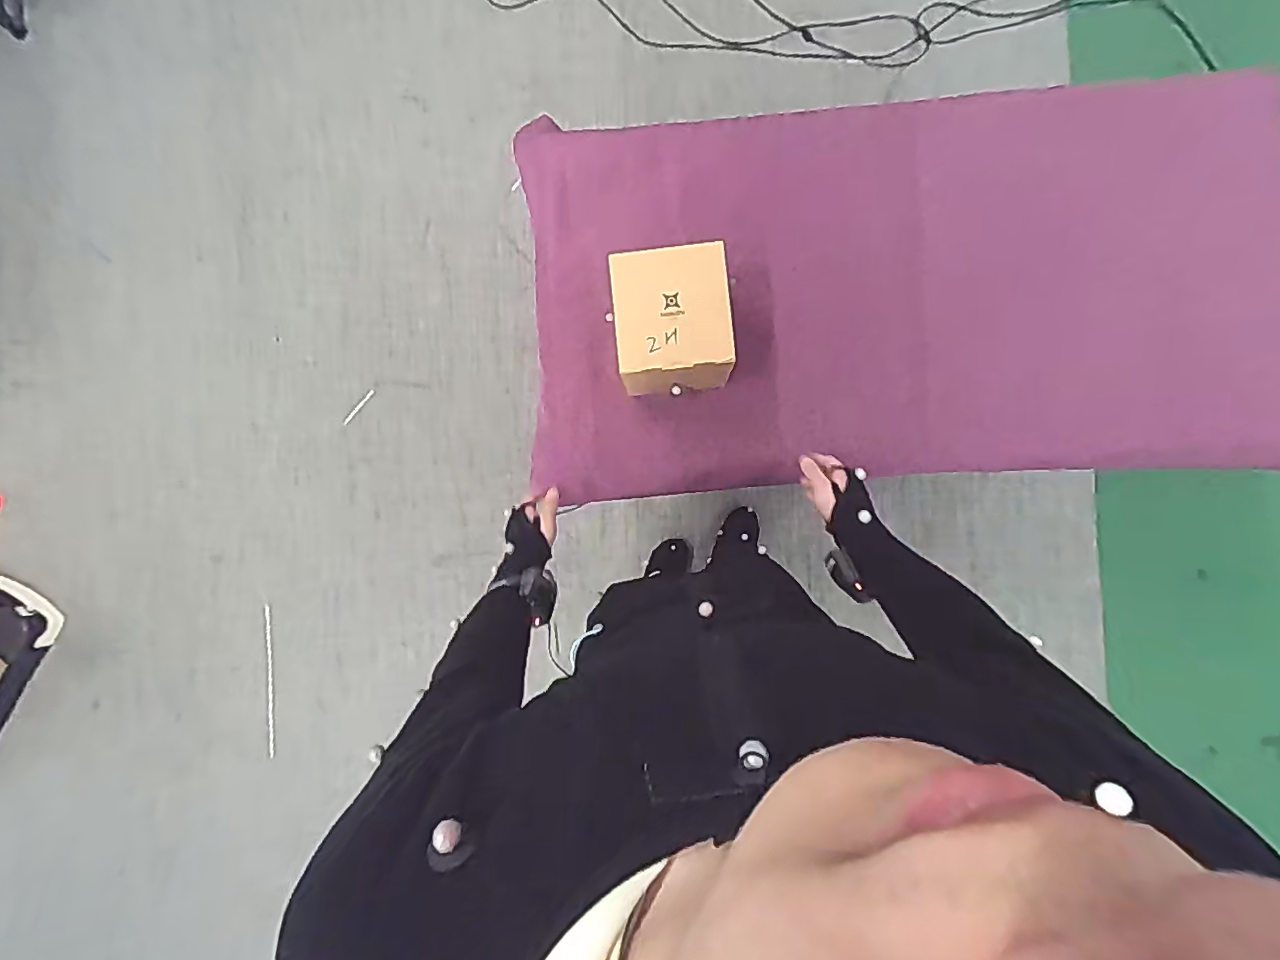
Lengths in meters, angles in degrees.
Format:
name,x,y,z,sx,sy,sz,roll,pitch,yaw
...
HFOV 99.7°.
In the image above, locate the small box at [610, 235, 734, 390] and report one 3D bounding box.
name,x,y,z,sx,sy,sz,roll,pitch,yaw
small box,0.048,-0.249,0.837,0.168,0.176,0.179,-5,88,4
